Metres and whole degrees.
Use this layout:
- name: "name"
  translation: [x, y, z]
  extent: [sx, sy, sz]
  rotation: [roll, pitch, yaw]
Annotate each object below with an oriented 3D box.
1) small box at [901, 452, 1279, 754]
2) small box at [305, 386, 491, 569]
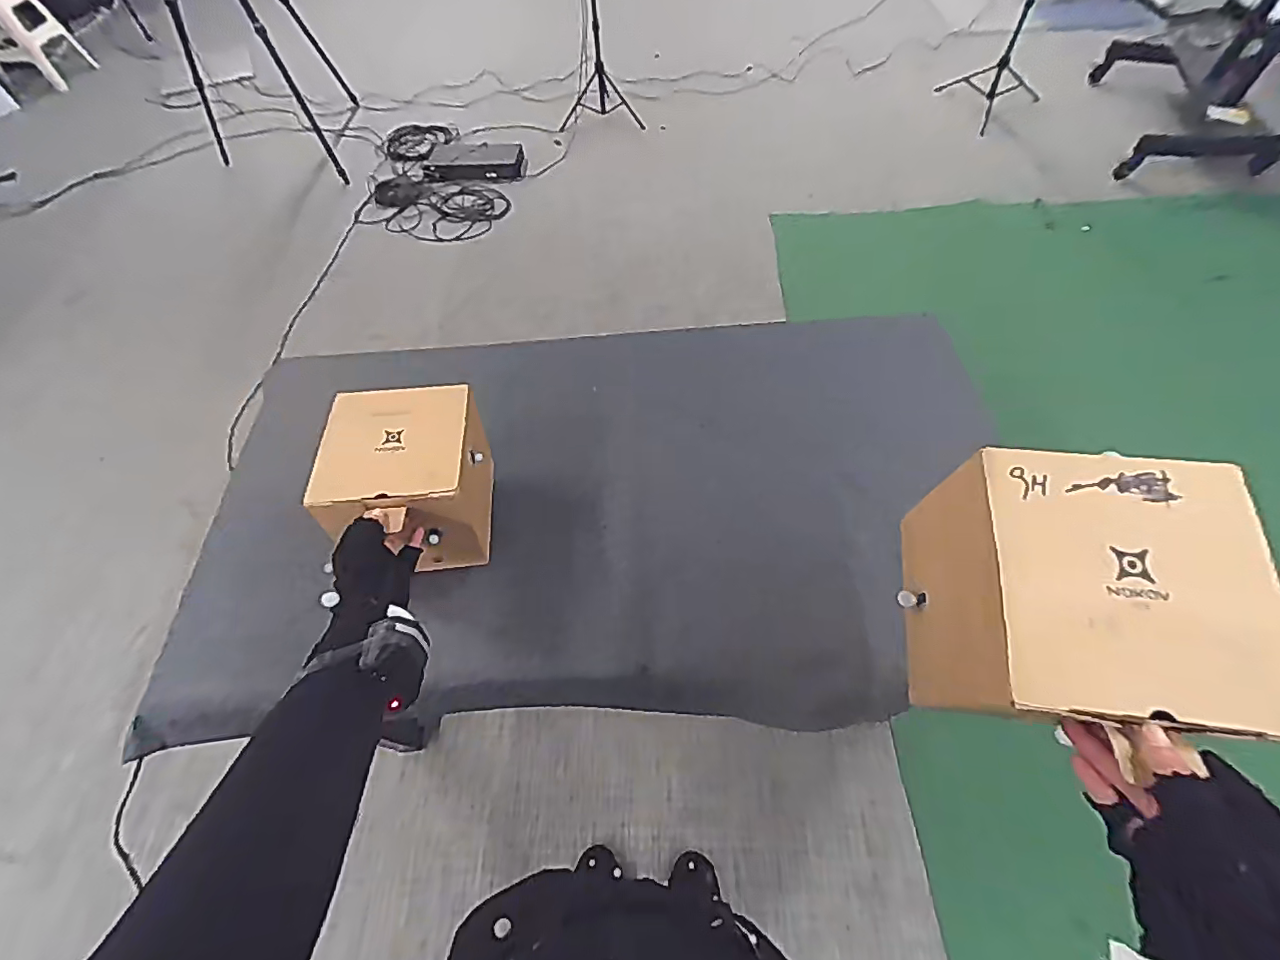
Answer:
- name: "small box"
  translation: [0.318, 0.096, 0.419]
  extent: [0.168, 0.176, 0.179]
  rotation: [5, 69, 7]
- name: "small box"
  translation: [-0.292, 0.003, 0.699]
  extent: [0.168, 0.176, 0.179]
  rotation: [-5, 52, -6]
